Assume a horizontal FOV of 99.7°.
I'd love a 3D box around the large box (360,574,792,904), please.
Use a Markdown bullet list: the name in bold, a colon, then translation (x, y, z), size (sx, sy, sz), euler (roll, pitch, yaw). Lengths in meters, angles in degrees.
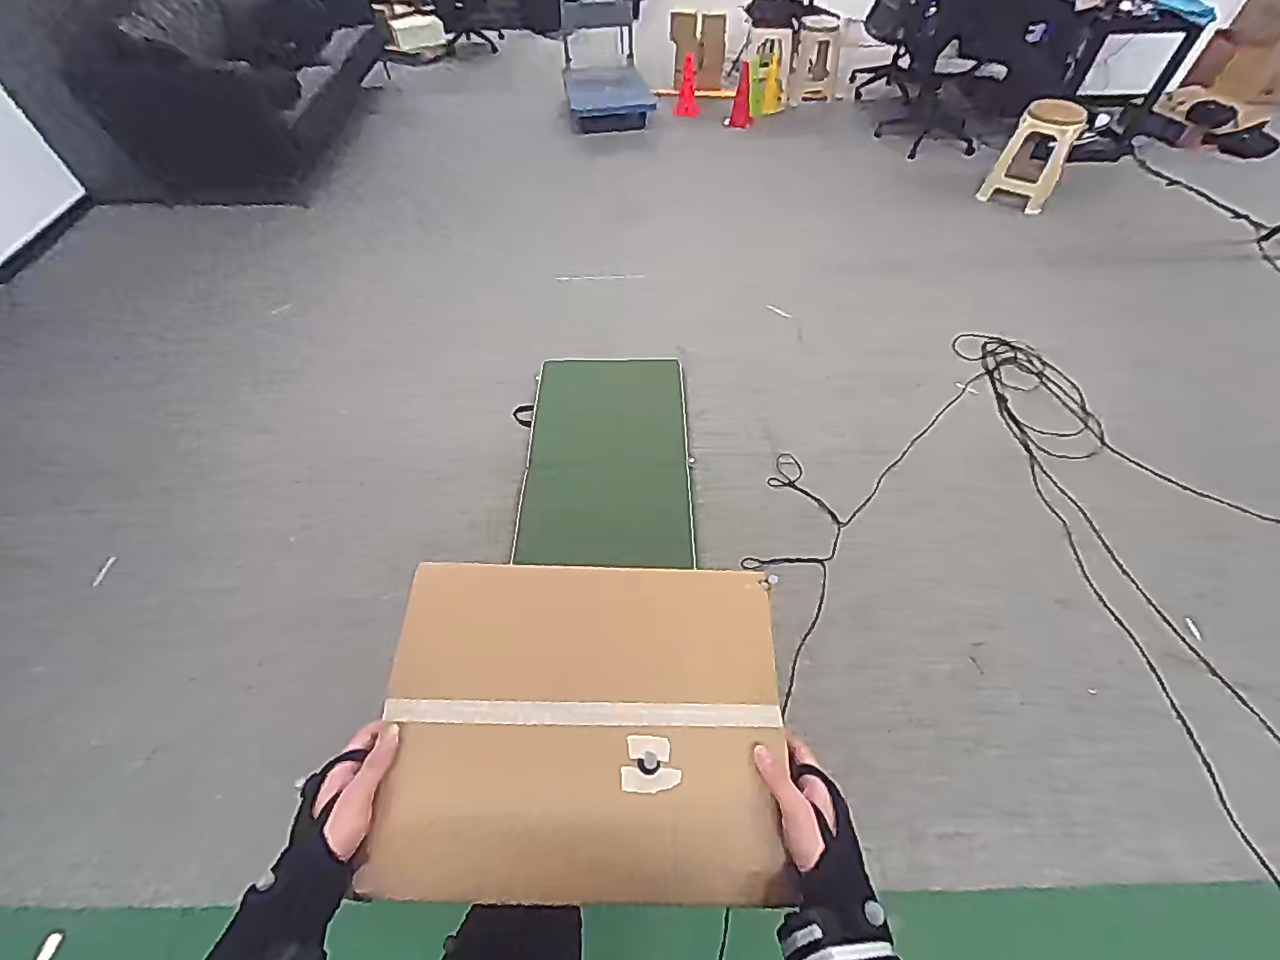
- **large box**: translation (-0.064, 0.322, 0.693), size (0.408, 0.320, 0.320), euler (2, 61, -2)
